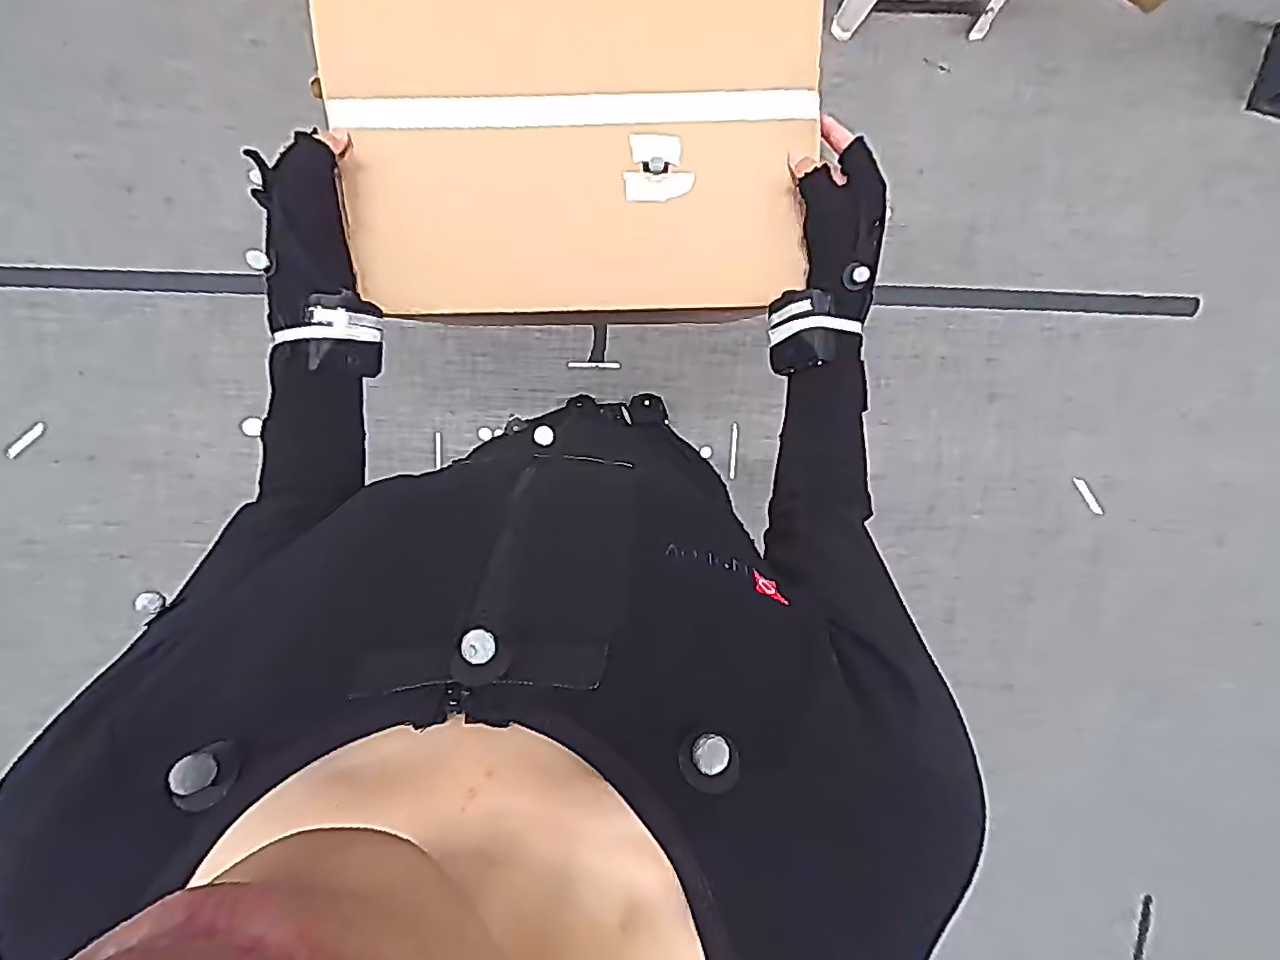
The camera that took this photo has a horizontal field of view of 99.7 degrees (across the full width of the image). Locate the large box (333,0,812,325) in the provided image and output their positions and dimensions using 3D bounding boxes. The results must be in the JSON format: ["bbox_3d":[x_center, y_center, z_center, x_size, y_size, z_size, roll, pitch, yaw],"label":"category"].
[{"bbox_3d":[-0.058,-0.349,0.612,0.408,0.320,0.320,-2,105,-2],"label":"large box"}]
